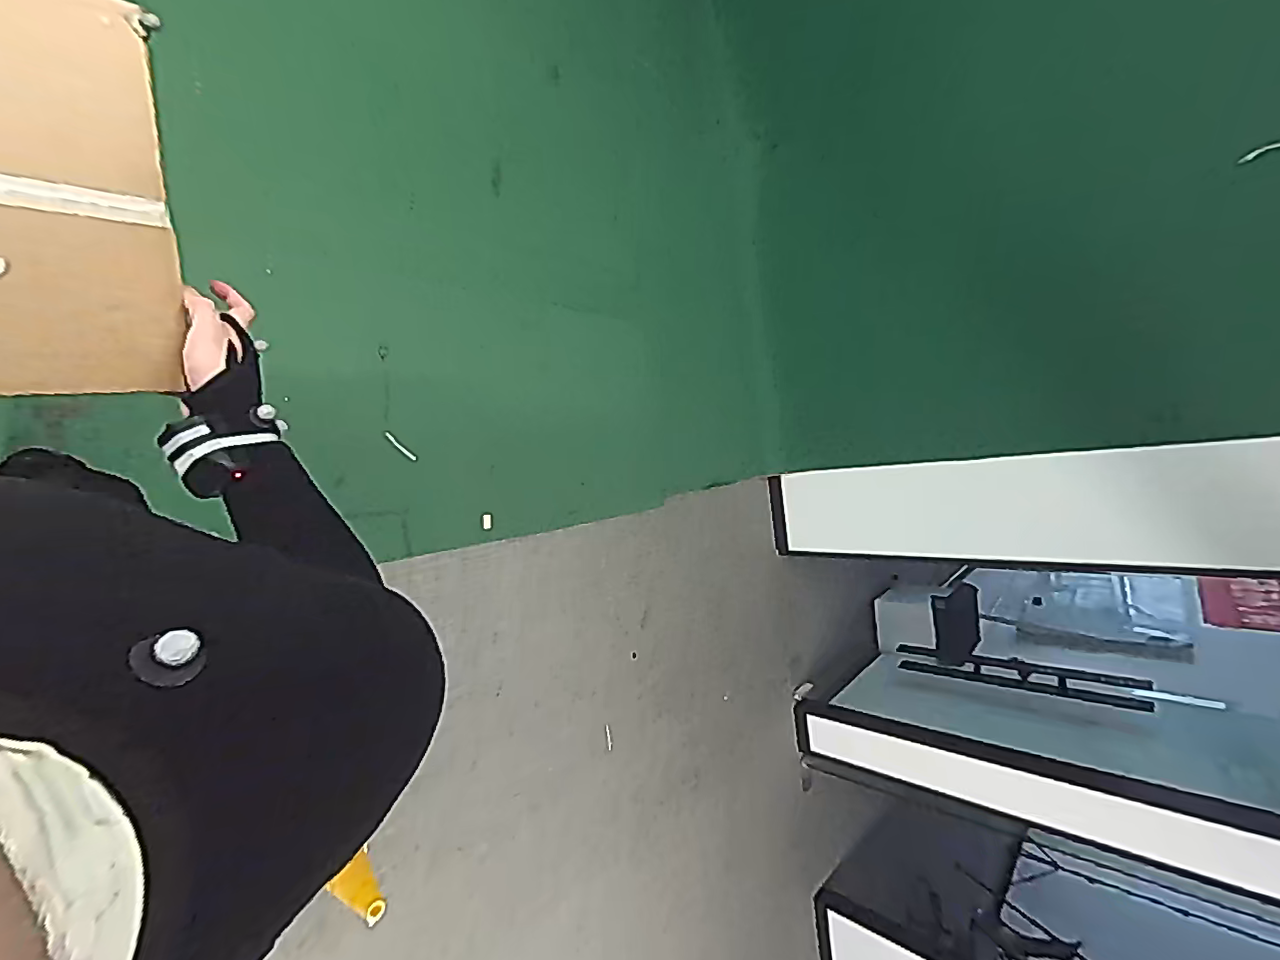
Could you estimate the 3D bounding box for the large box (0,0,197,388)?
[{"bbox_3d":[-0.668,-0.245,0.434,0.408,0.320,0.320,-15,116,-48],"label":"large box"}]
